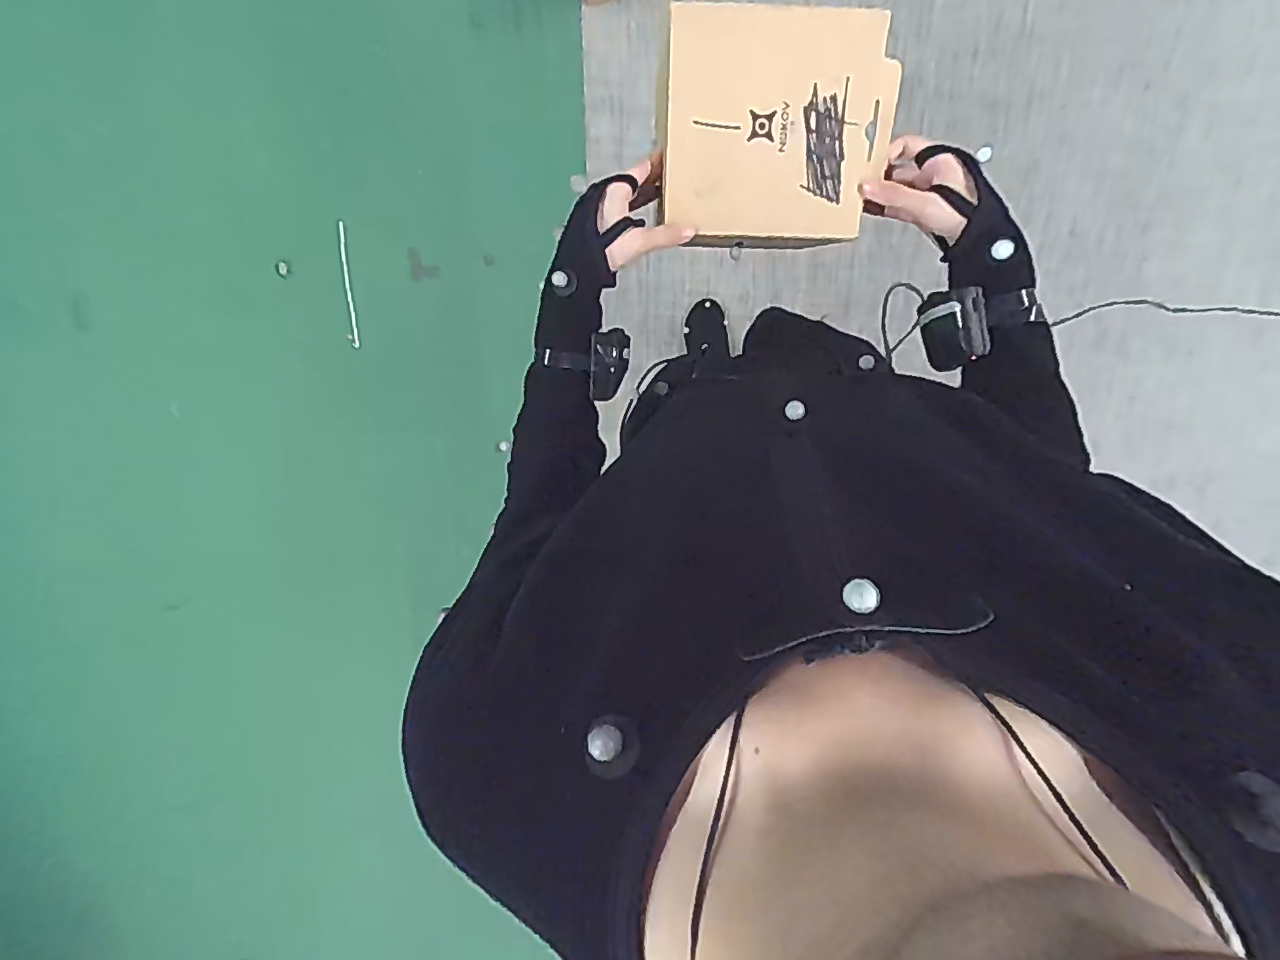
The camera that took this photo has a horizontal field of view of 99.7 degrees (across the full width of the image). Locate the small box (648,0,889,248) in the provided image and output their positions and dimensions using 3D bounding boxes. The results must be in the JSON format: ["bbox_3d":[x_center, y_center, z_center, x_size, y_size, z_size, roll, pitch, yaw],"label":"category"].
[{"bbox_3d":[0.102,-0.318,0.516,0.179,0.176,0.168,1,109,-2],"label":"small box"}]
